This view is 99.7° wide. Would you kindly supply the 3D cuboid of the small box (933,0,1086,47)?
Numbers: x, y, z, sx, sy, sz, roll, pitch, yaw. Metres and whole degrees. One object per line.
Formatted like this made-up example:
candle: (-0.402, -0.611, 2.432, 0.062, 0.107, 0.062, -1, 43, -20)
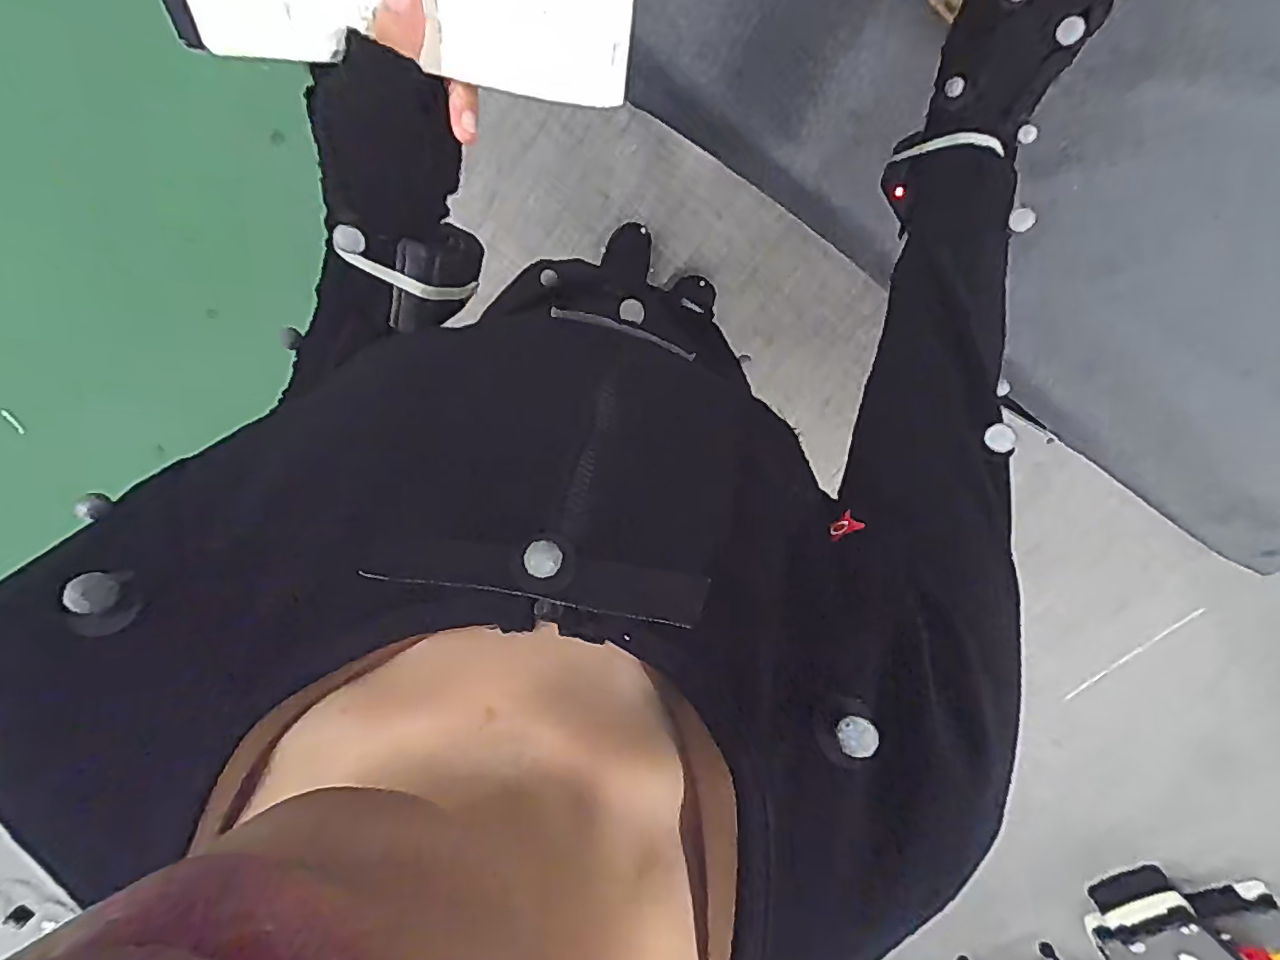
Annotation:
small box: (0.325, -0.494, 0.415, 0.168, 0.176, 0.179, 34, 112, -12)
